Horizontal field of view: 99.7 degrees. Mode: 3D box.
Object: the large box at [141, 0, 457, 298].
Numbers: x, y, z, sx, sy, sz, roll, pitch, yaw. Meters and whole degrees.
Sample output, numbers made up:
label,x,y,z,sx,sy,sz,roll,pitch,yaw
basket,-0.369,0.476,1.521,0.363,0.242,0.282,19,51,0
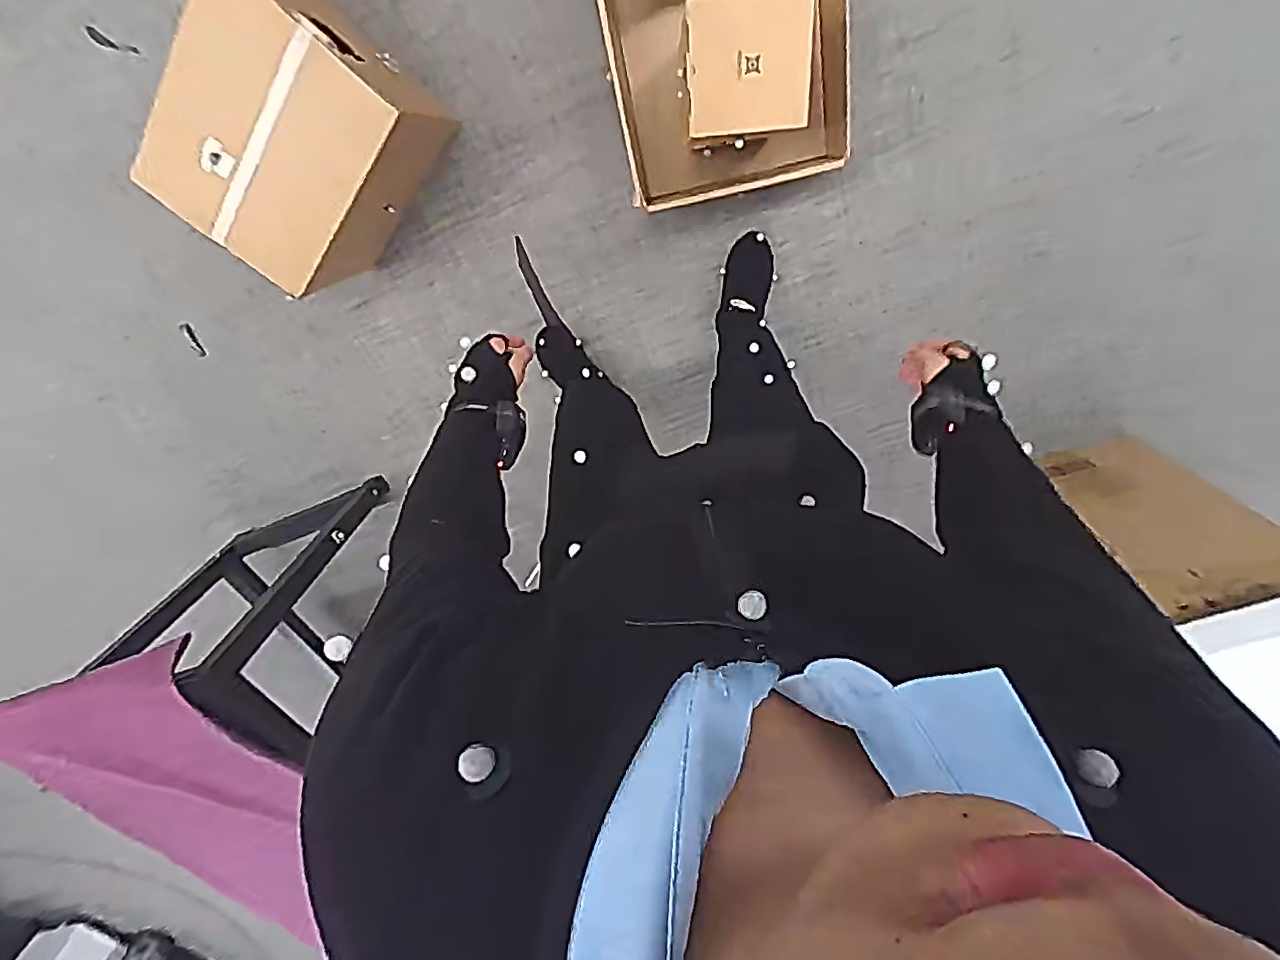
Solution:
label,x,y,z,sx,sy,sz,roll,pitch,yaw
large box,-0.618,-0.637,1.024,0.320,0.320,0.408,38,117,-18
